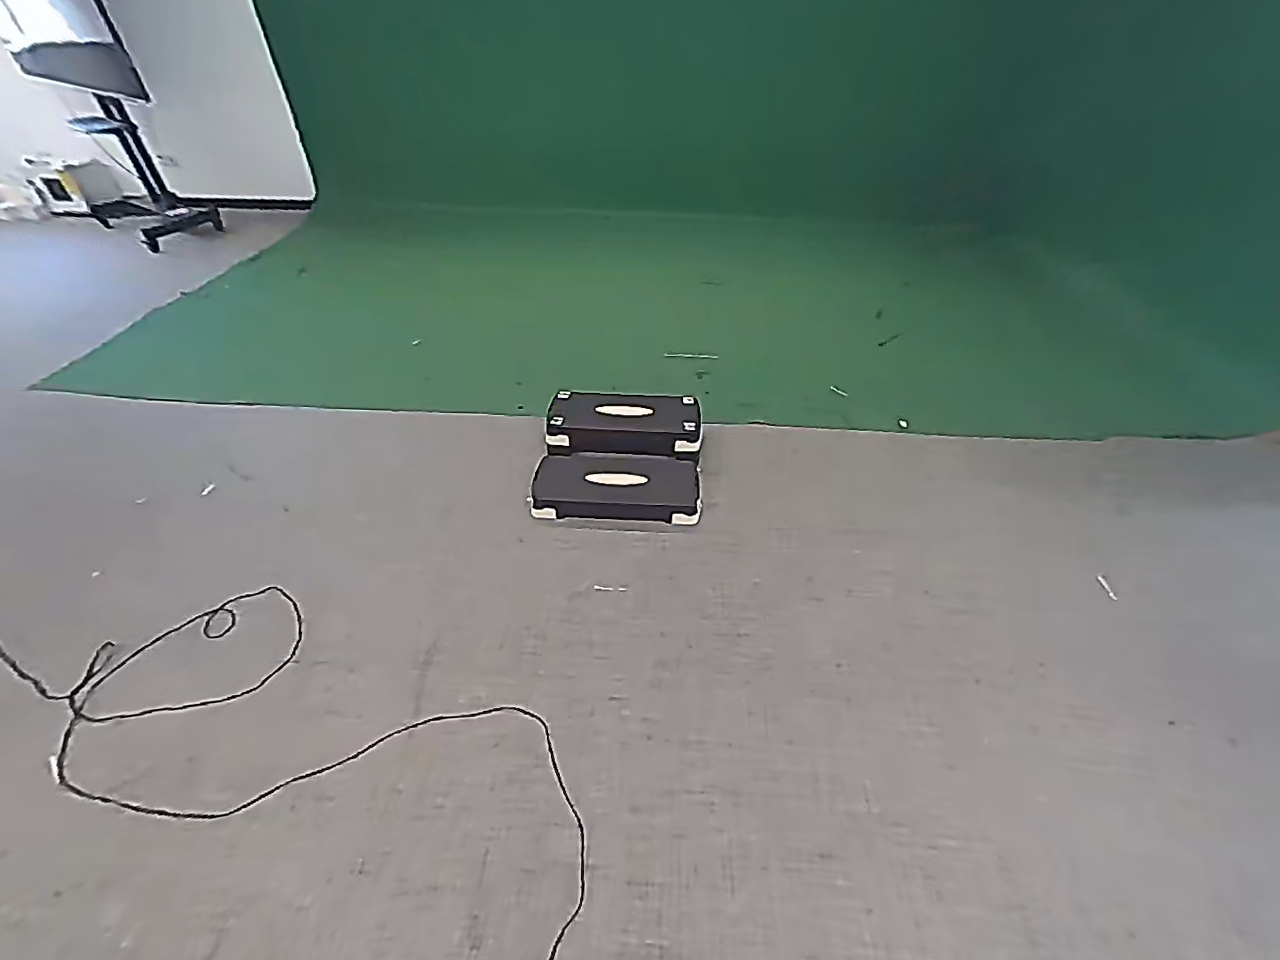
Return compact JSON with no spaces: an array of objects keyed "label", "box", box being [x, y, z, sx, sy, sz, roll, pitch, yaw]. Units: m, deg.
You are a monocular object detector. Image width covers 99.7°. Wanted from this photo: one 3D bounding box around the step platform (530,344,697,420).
[{"label":"step platform","box":[-0.105,-0.414,2.283,0.684,0.204,0.286,2,43,2]}]
